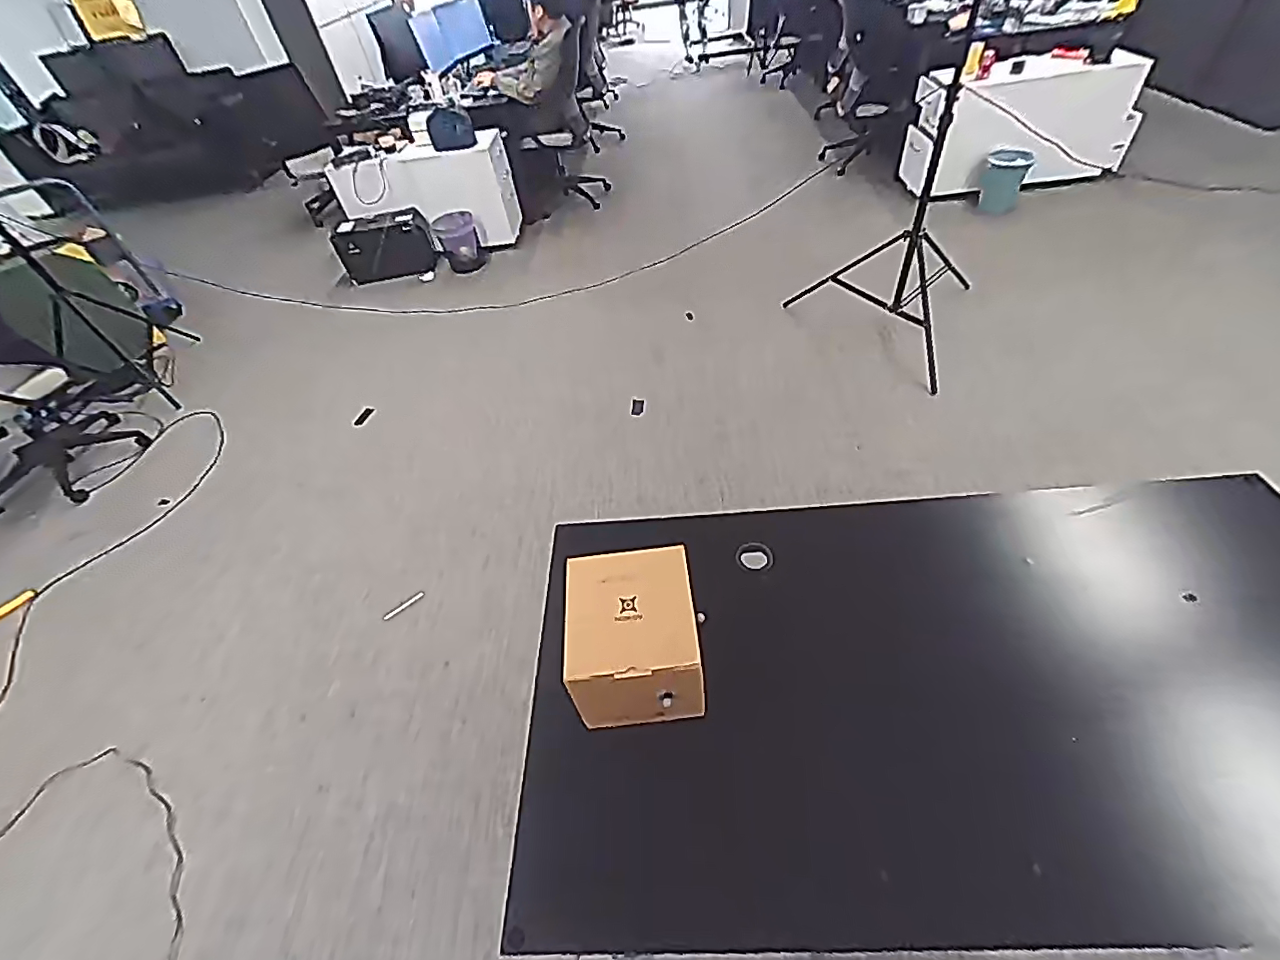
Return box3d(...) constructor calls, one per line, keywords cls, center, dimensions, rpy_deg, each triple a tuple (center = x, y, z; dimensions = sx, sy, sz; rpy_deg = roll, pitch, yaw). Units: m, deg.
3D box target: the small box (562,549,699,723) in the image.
box3d(cls="small box", center=(-0.010, 0.223, 0.755), dimensions=(0.168, 0.176, 0.179), rpy_deg=(-7, 46, 1))
